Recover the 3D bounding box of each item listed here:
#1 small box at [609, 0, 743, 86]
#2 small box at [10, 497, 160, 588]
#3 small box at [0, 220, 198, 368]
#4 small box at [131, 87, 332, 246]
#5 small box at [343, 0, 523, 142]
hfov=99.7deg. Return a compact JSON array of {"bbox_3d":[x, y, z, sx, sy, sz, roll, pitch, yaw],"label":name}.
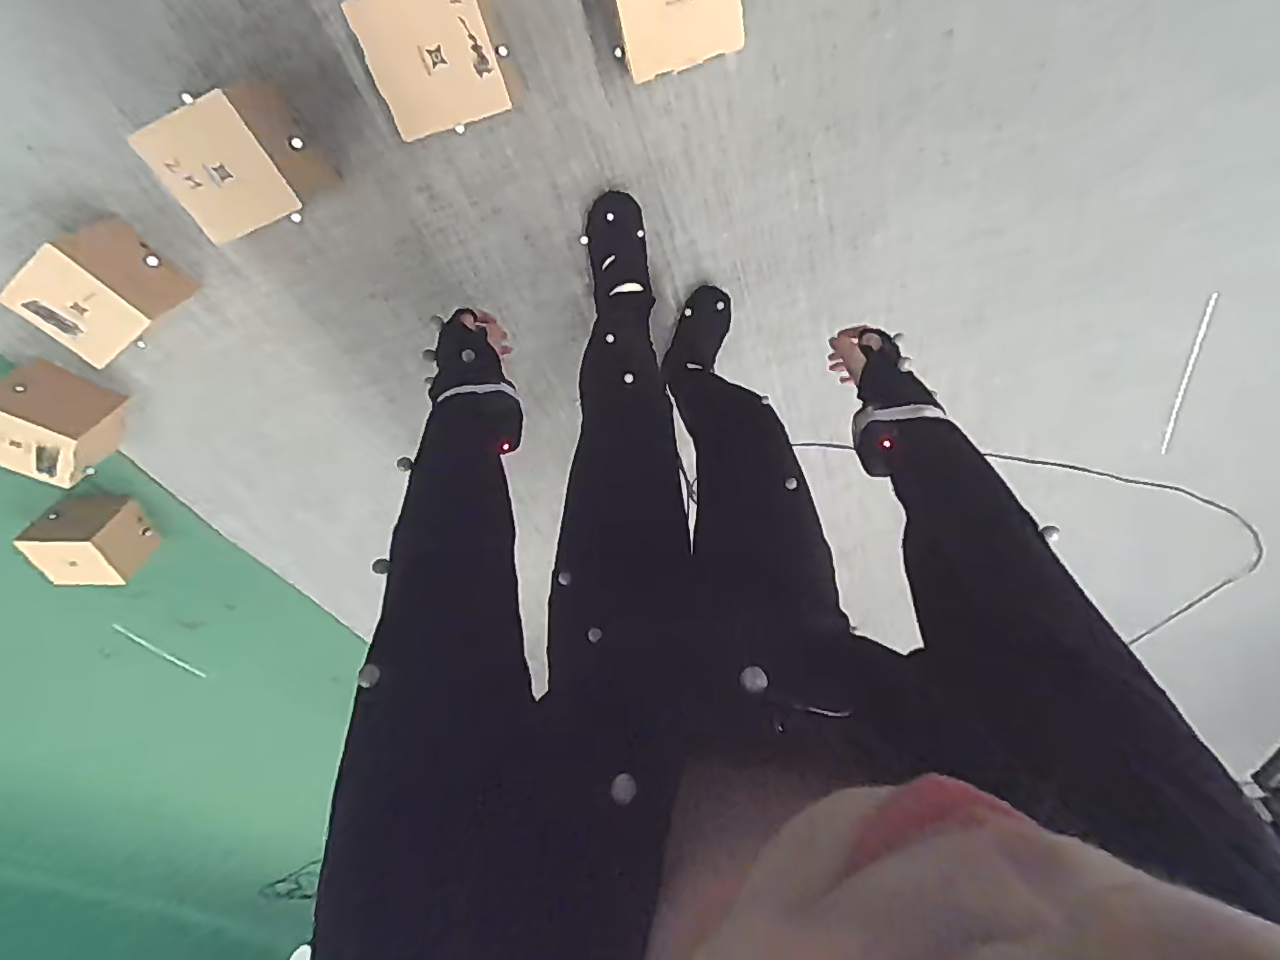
[{"bbox_3d":[0.042,-0.699,0.779,0.168,0.176,0.179,-13,130,7],"label":"small box"},{"bbox_3d":[-1.409,0.157,1.390,0.179,0.176,0.168,1,130,-5],"label":"small box"},{"bbox_3d":[-0.981,-0.345,0.999,0.179,0.176,0.168,-27,126,17],"label":"small box"},{"bbox_3d":[-0.640,-0.515,0.882,0.179,0.176,0.168,-17,128,10],"label":"small box"},{"bbox_3d":[-0.292,-0.631,0.810,0.179,0.176,0.168,-12,130,7],"label":"small box"}]
